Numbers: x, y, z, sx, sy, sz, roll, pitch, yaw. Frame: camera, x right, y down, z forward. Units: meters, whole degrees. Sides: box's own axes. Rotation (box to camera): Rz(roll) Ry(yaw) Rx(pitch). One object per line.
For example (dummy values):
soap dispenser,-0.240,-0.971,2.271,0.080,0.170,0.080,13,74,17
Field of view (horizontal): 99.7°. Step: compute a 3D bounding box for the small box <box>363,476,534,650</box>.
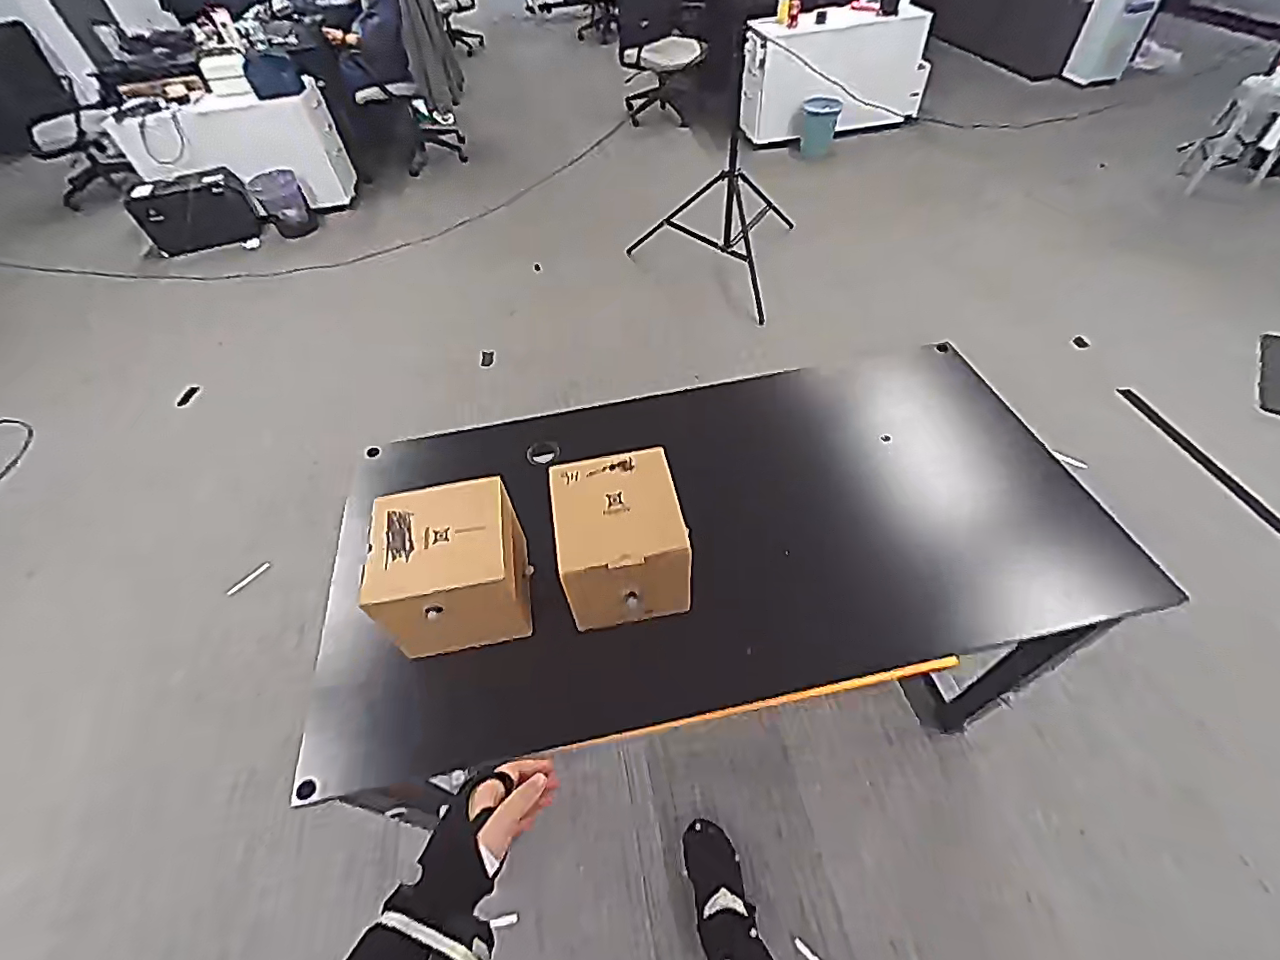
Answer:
small box,-0.256,0.122,0.763,0.179,0.176,0.168,-10,51,-5
